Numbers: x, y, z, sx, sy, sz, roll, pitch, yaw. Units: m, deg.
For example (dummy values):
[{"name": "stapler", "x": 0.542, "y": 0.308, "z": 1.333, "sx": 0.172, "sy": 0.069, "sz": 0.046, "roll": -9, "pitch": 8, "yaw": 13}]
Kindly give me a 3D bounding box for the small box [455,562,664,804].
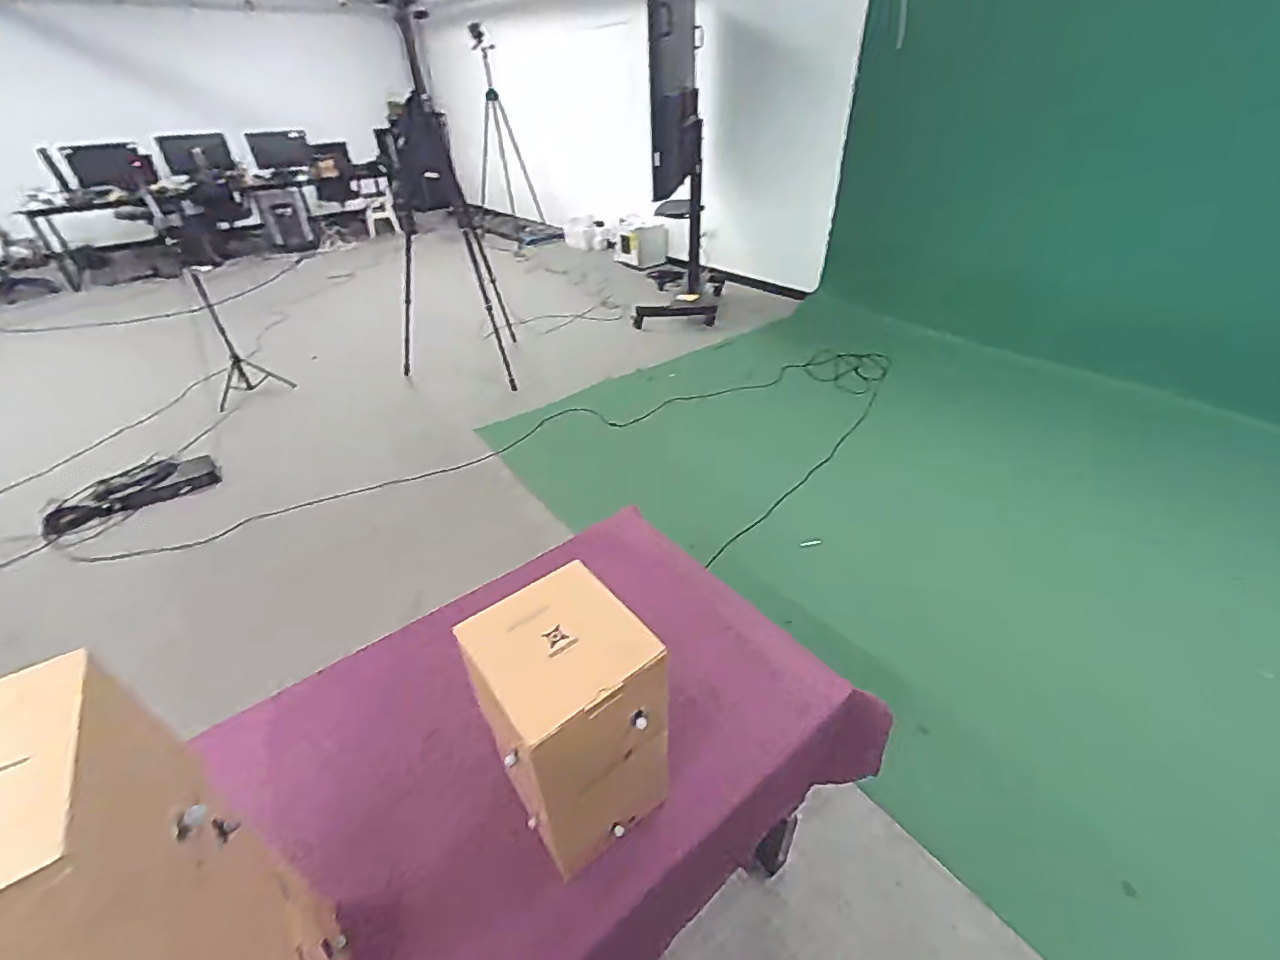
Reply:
[{"name": "small box", "x": -0.086, "y": 0.235, "z": 0.625, "sx": 0.168, "sy": 0.176, "sz": 0.179, "roll": -26, "pitch": 43, "yaw": -29}]
